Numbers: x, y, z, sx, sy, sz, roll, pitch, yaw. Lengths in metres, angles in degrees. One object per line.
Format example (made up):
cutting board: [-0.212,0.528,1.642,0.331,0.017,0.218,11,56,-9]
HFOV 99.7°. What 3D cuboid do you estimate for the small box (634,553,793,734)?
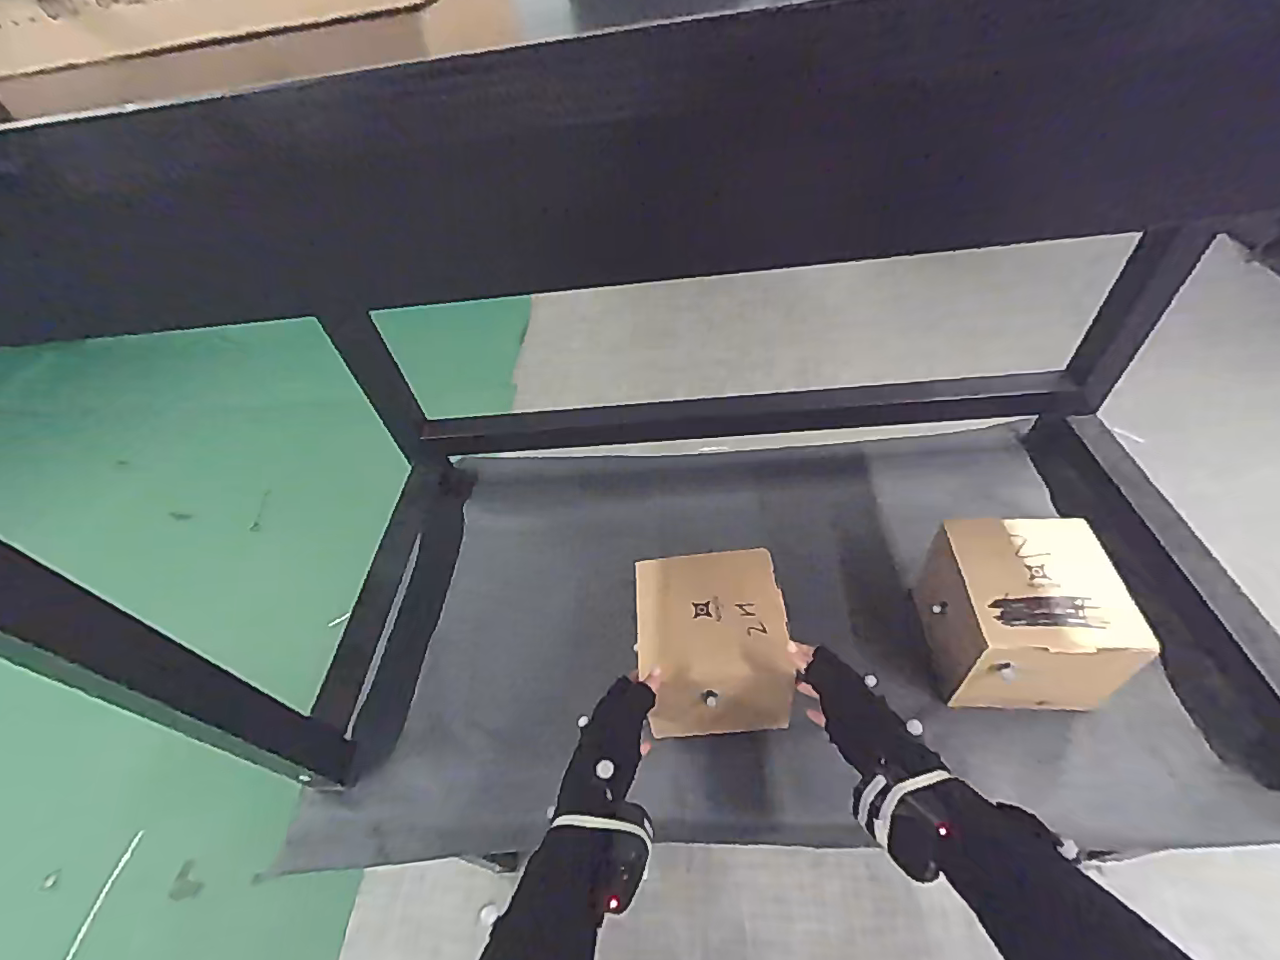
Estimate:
small box: [0.091,0.216,0.702,0.179,0.176,0.168,-5,46,4]

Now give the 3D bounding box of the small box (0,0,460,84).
small box: [-0.167,-0.262,0.191,0.168,0.176,0.179,-4,47,5]
